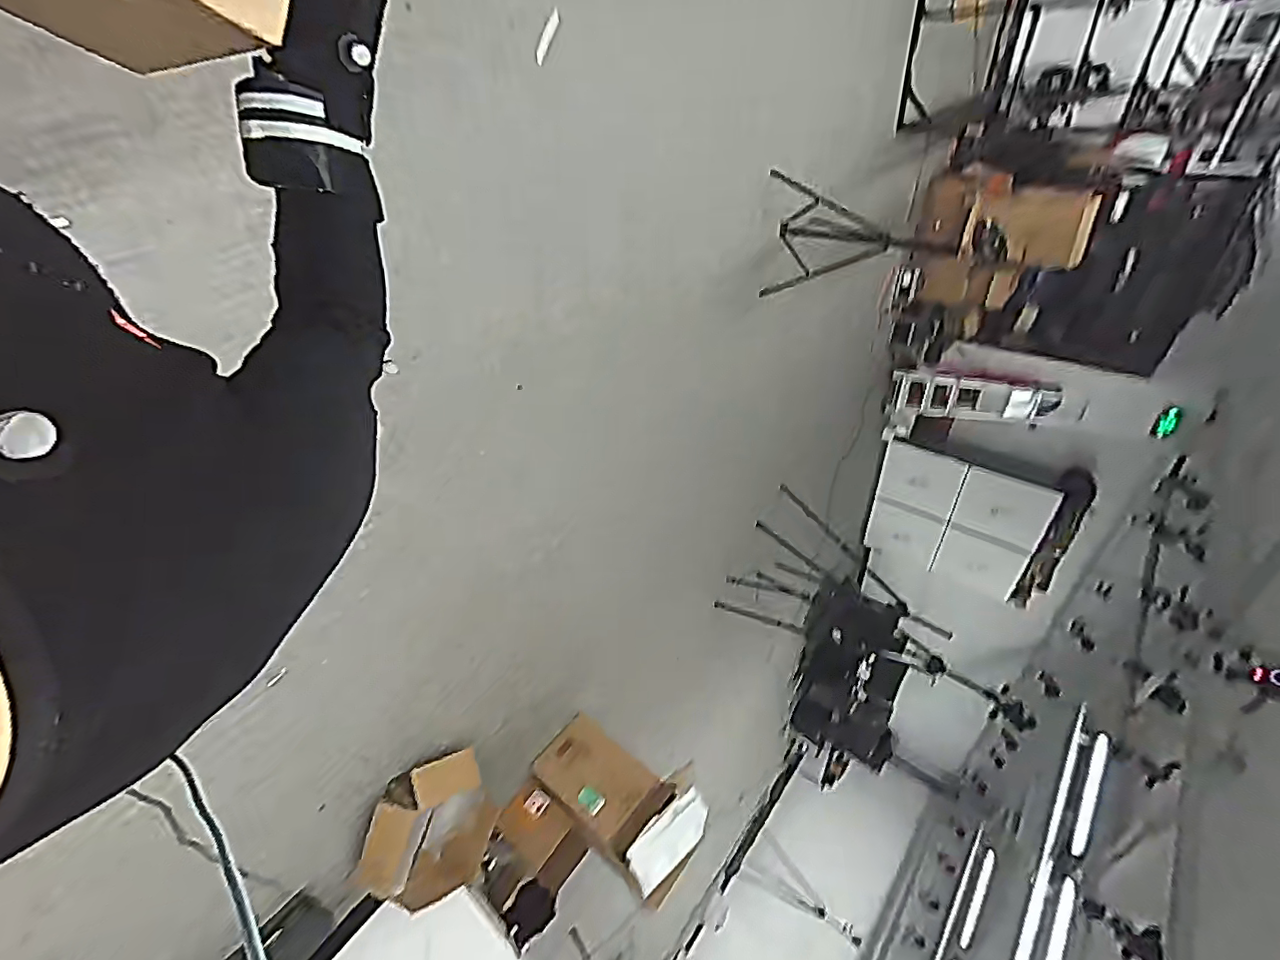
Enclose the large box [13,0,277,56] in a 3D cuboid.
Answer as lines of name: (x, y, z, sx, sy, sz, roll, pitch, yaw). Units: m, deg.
large box: (-0.436, -0.491, 0.246, 0.408, 0.320, 0.320, -2, 111, -56)
